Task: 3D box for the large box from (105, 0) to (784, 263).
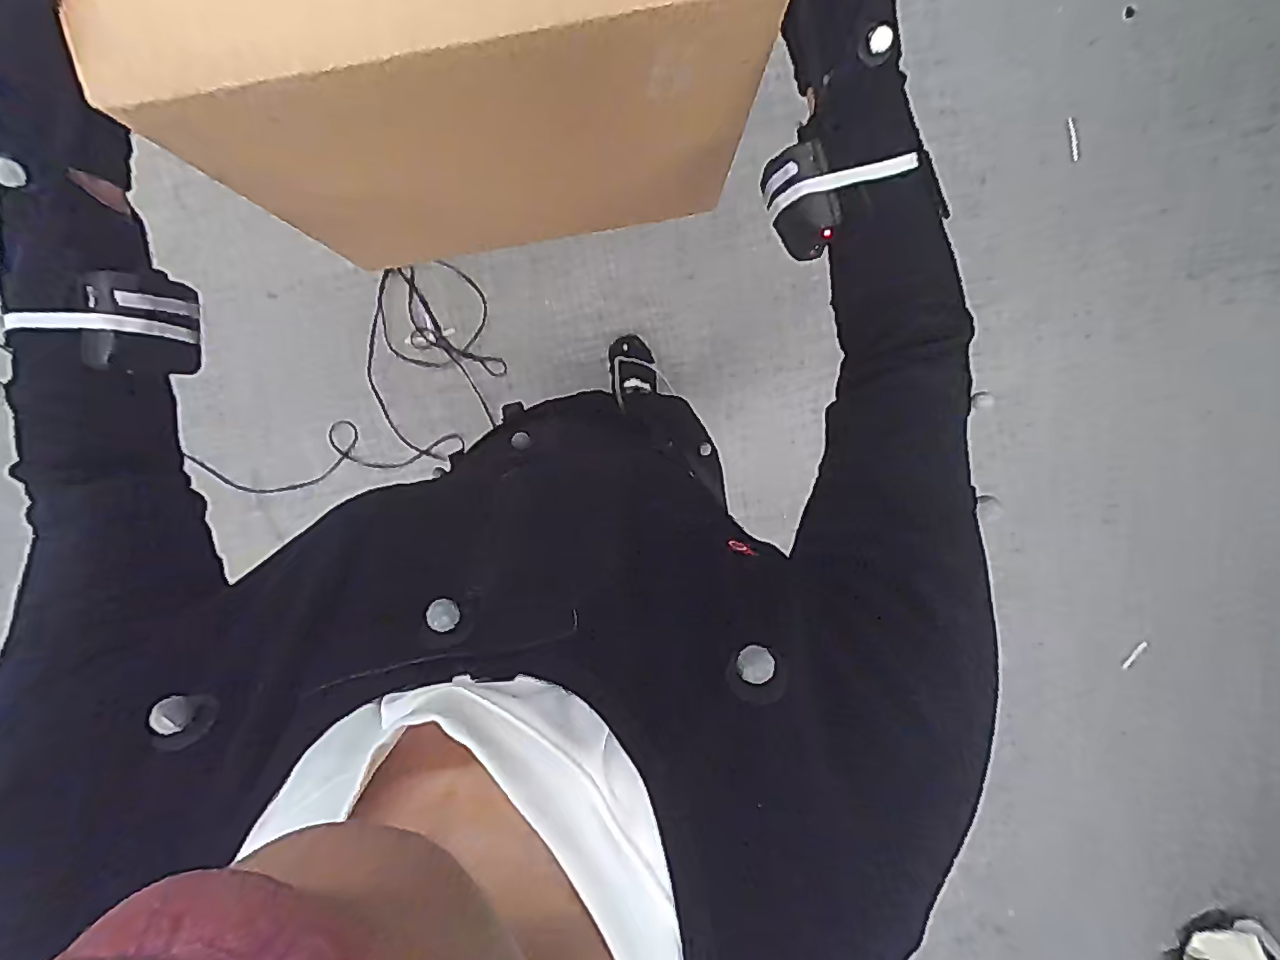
[{"bbox_3d":[-0.134,-0.416,0.450,0.408,0.320,0.320,-11,95,-1],"label":"large box"}]
